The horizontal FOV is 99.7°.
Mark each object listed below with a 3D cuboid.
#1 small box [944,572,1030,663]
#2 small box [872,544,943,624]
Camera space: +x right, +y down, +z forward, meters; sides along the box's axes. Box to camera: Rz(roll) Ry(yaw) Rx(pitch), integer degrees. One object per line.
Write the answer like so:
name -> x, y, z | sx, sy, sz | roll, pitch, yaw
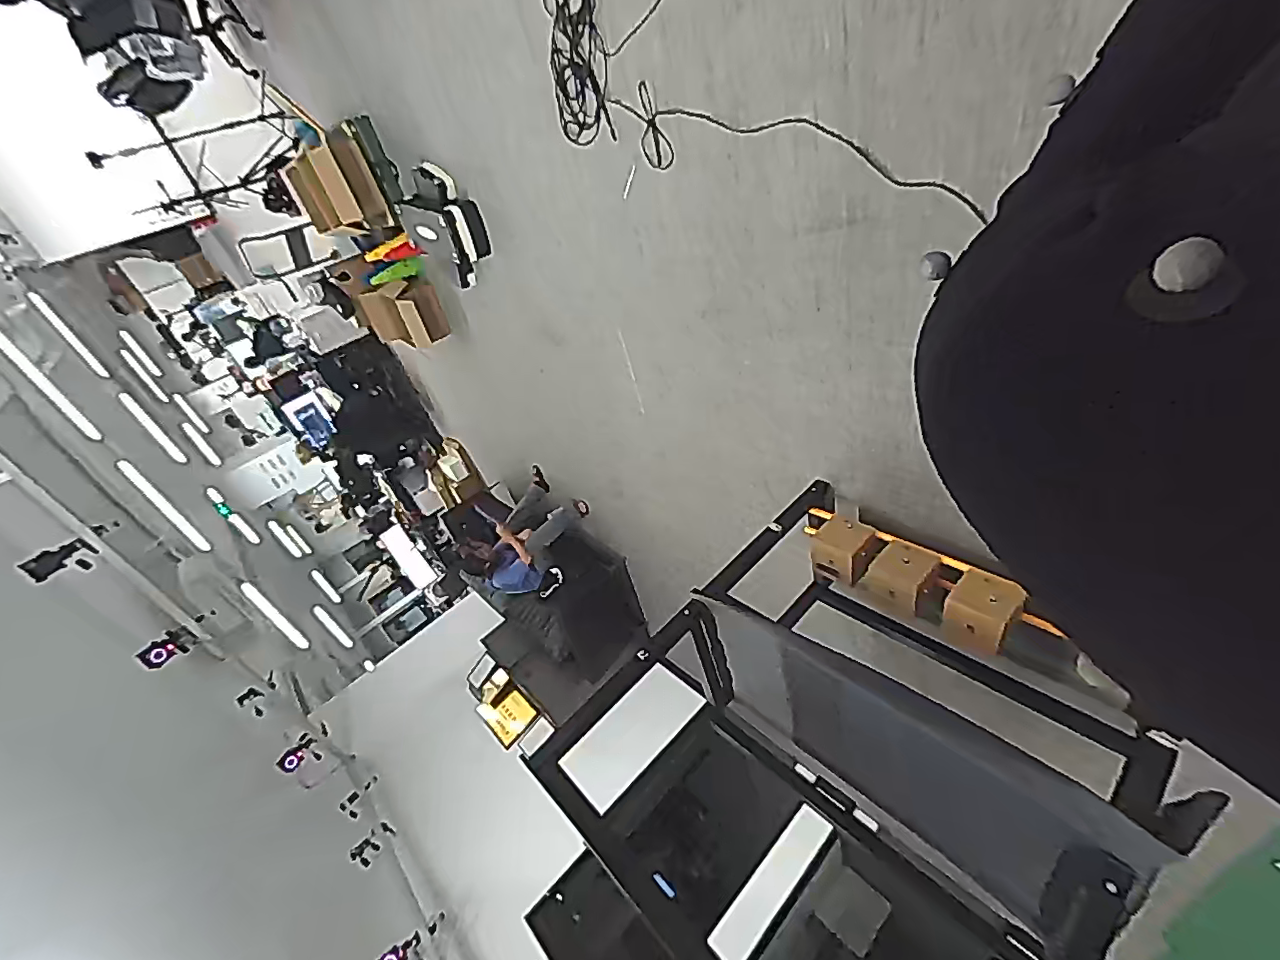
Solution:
small box -> 1.074, 0.417, 1.673 | 0.168, 0.176, 0.179 | 26, 142, 44
small box -> 0.914, 0.347, 1.845 | 0.168, 0.176, 0.179 | 23, 140, 44
